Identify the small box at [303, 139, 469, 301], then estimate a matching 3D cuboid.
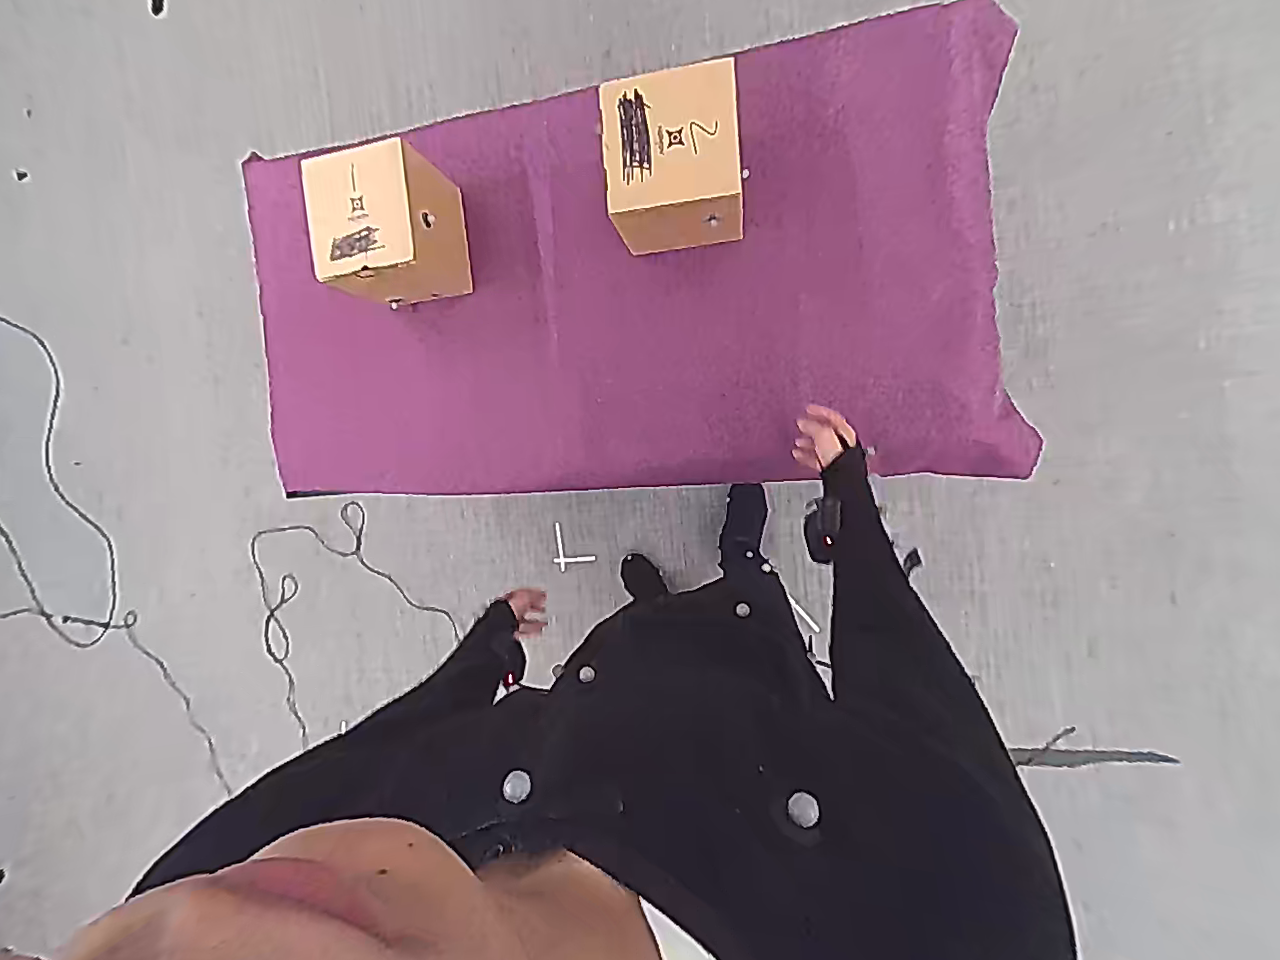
[{"bbox_3d":[-0.389,-0.393,0.858,0.168,0.176,0.179,-6,93,11],"label":"small box"}]
